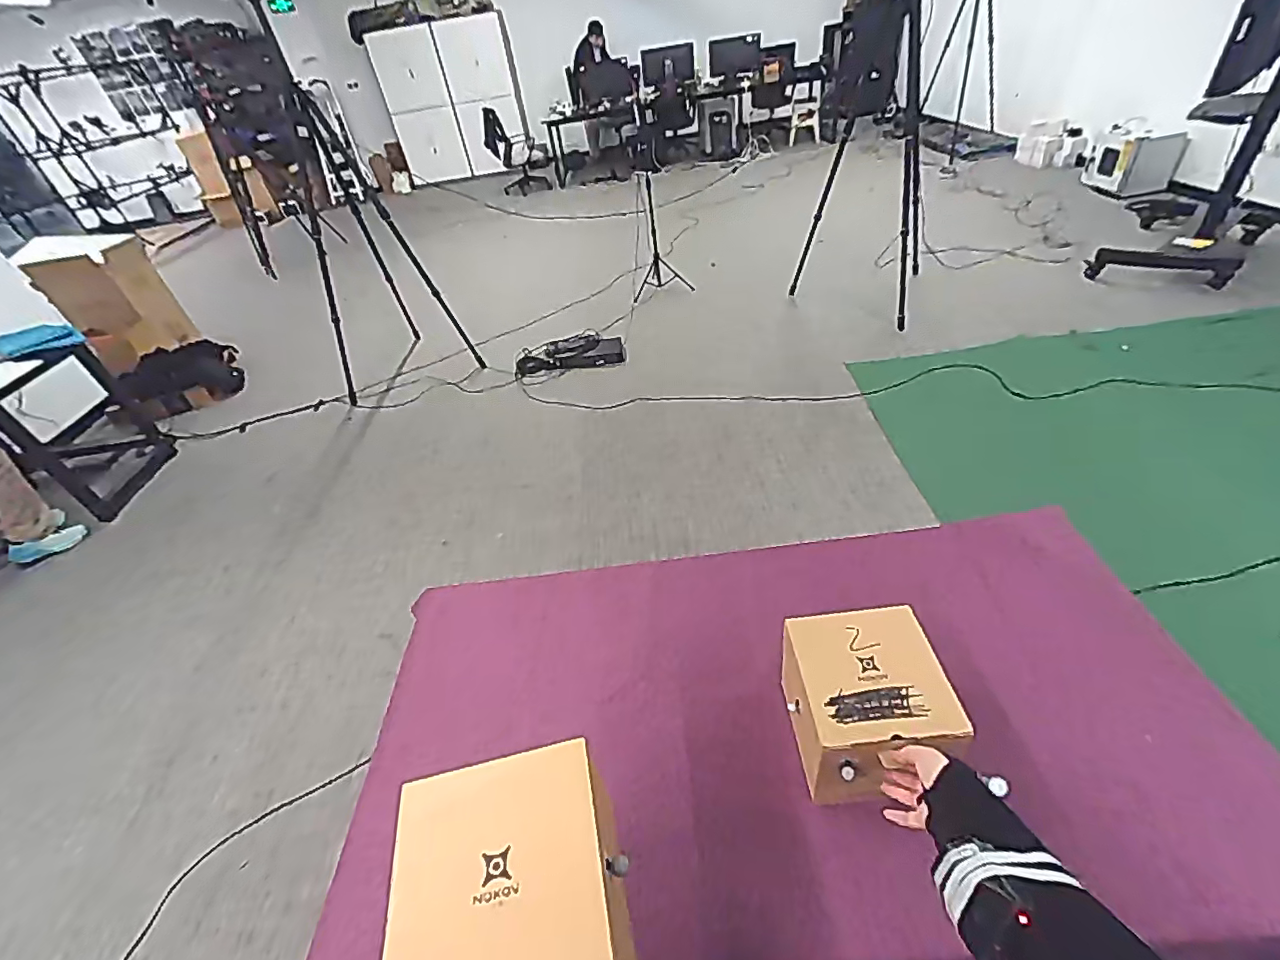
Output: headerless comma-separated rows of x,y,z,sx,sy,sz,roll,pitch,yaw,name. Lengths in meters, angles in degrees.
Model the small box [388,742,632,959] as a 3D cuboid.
-0.105,0.374,0.486,0.168,0.176,0.179,-12,42,-5,small box
